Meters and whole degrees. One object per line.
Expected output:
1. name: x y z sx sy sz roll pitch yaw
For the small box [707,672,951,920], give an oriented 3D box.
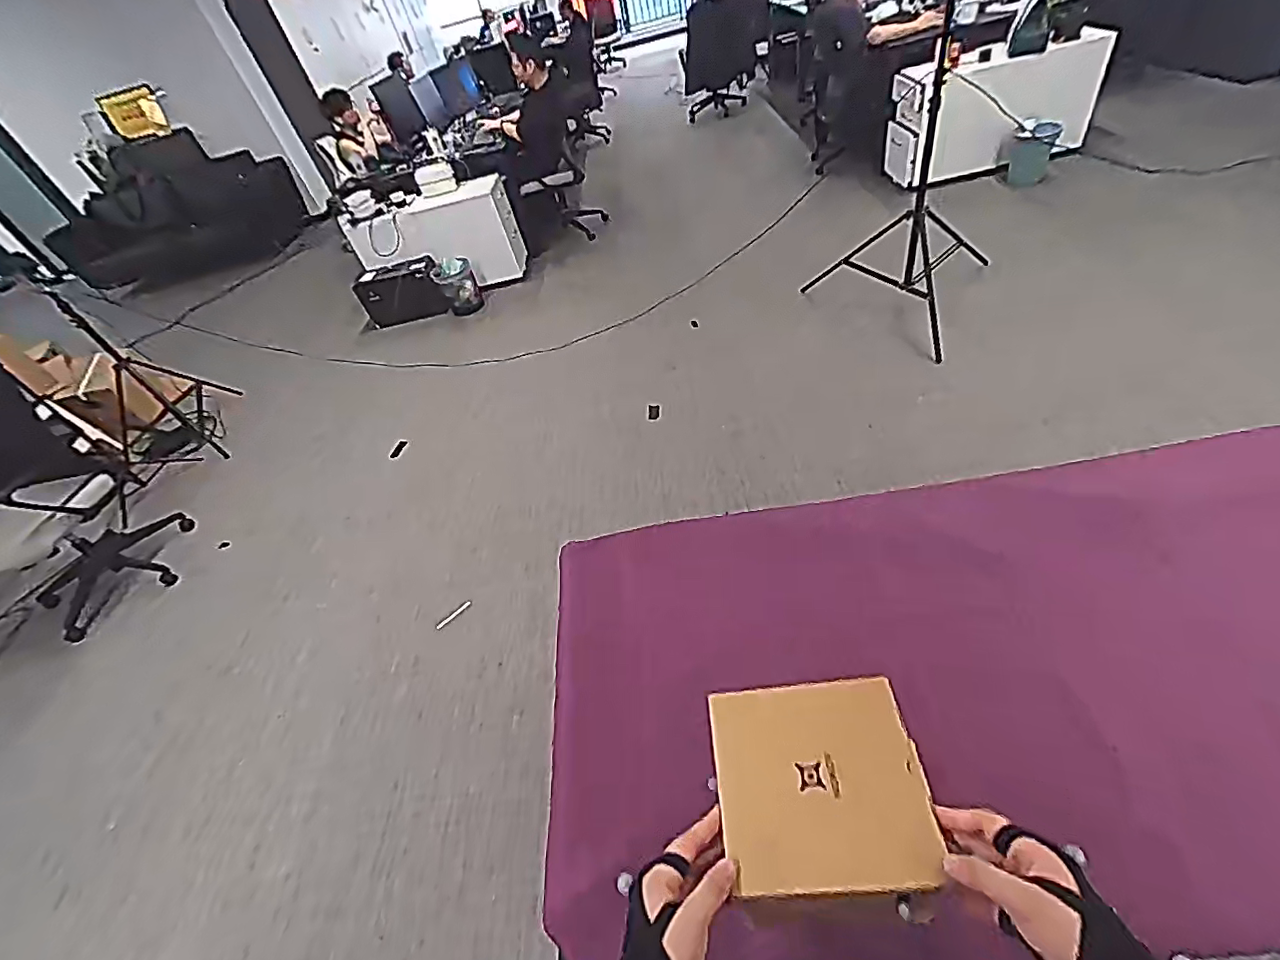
1. small box: 0.169 0.312 0.530 0.179 0.176 0.168 -9 43 7
